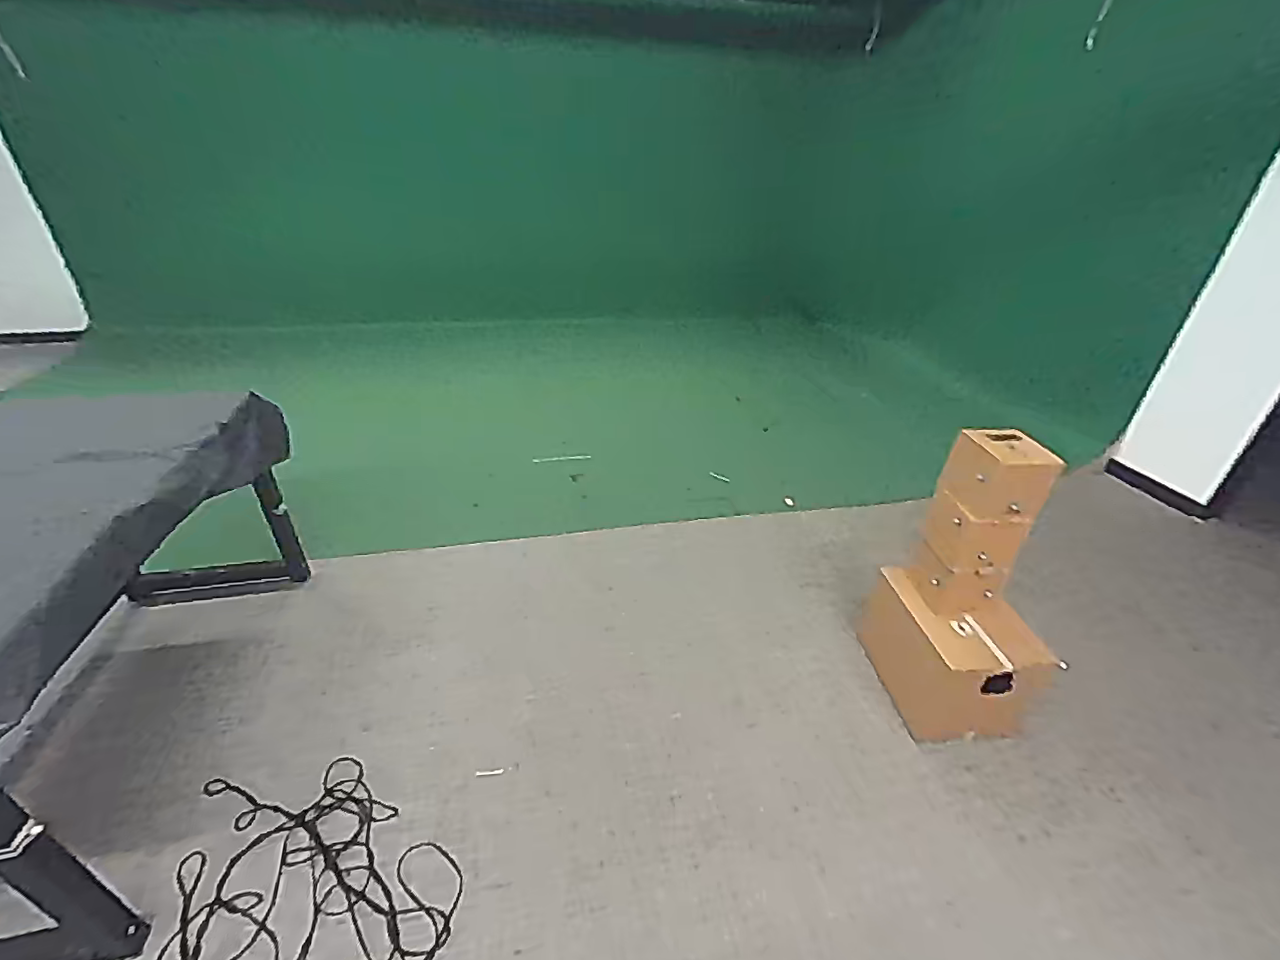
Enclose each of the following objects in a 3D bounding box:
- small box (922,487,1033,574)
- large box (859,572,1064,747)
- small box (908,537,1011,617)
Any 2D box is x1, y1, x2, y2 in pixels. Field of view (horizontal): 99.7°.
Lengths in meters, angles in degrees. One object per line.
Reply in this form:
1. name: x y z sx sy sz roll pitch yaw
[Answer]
1. small box: 0.907 0.137 1.477 0.168 0.176 0.179 1 32 -4
2. large box: 0.922 0.521 1.625 0.320 0.320 0.408 -2 32 -5
3. small box: 0.909 0.279 1.556 0.168 0.176 0.179 0 30 -6
